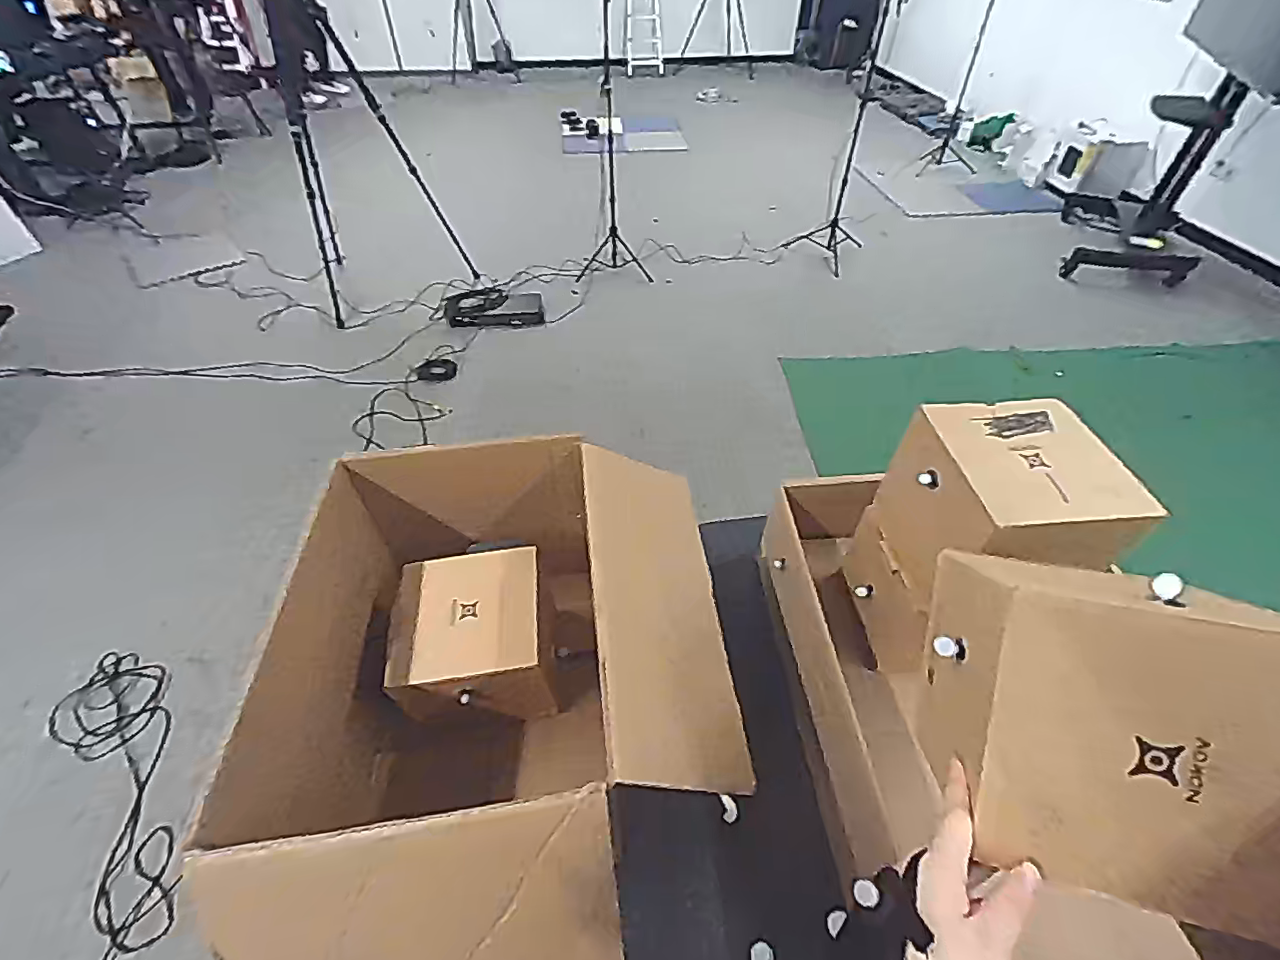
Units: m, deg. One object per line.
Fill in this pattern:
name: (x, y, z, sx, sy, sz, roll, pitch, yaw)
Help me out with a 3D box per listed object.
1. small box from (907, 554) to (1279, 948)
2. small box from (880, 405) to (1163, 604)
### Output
small box: (0.301, 0.152, 0.372, 0.179, 0.168, 0.176, 8, 4, 14)
small box: (0.402, 0.036, 0.615, 0.168, 0.176, 0.179, -4, 48, -2)
